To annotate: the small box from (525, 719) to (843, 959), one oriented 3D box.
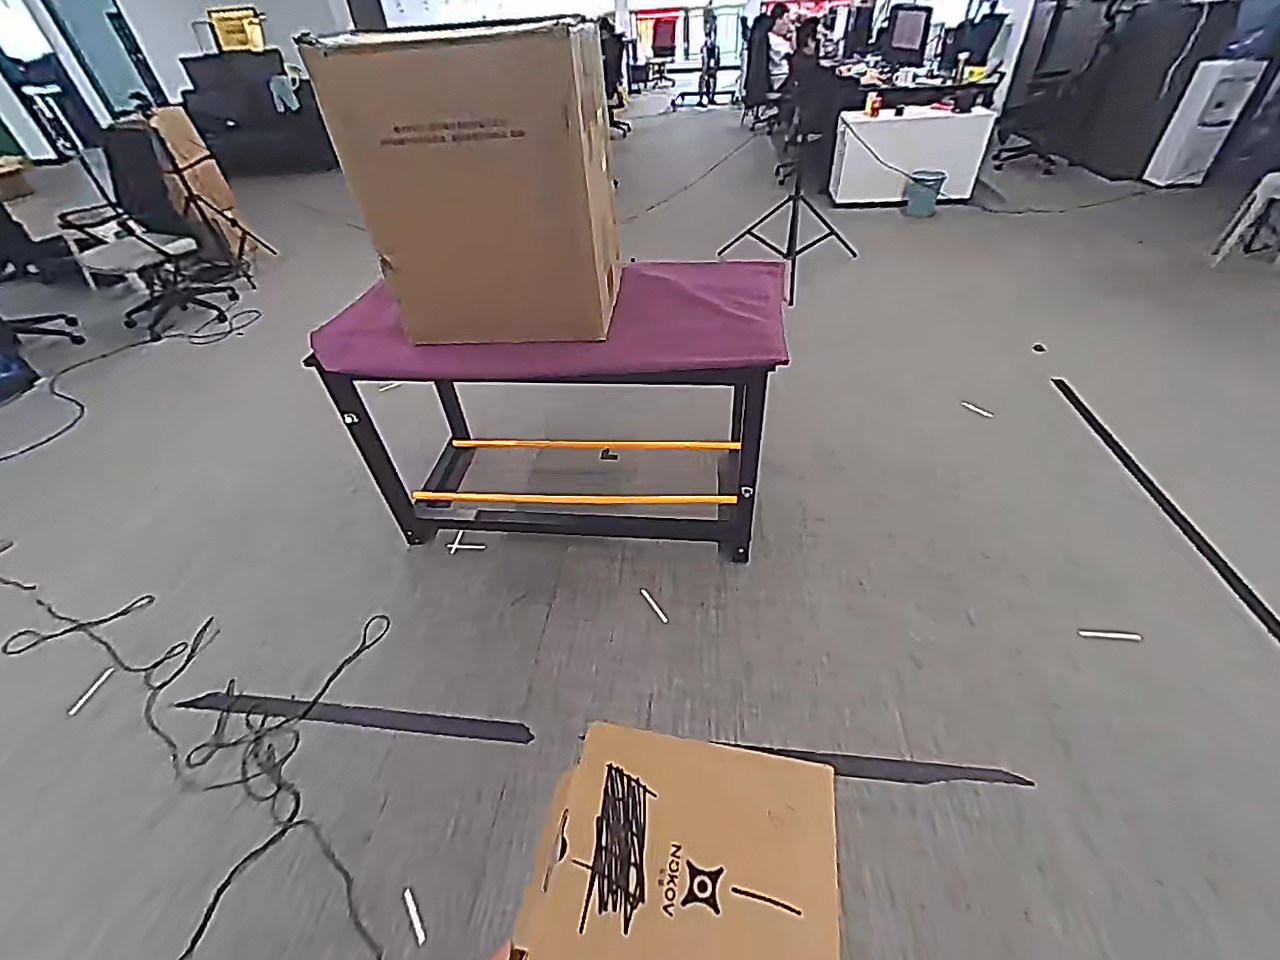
[{"bbox_3d":[0.038,0.296,0.381,0.179,0.176,0.168,5,45,11],"label":"small box"}]
